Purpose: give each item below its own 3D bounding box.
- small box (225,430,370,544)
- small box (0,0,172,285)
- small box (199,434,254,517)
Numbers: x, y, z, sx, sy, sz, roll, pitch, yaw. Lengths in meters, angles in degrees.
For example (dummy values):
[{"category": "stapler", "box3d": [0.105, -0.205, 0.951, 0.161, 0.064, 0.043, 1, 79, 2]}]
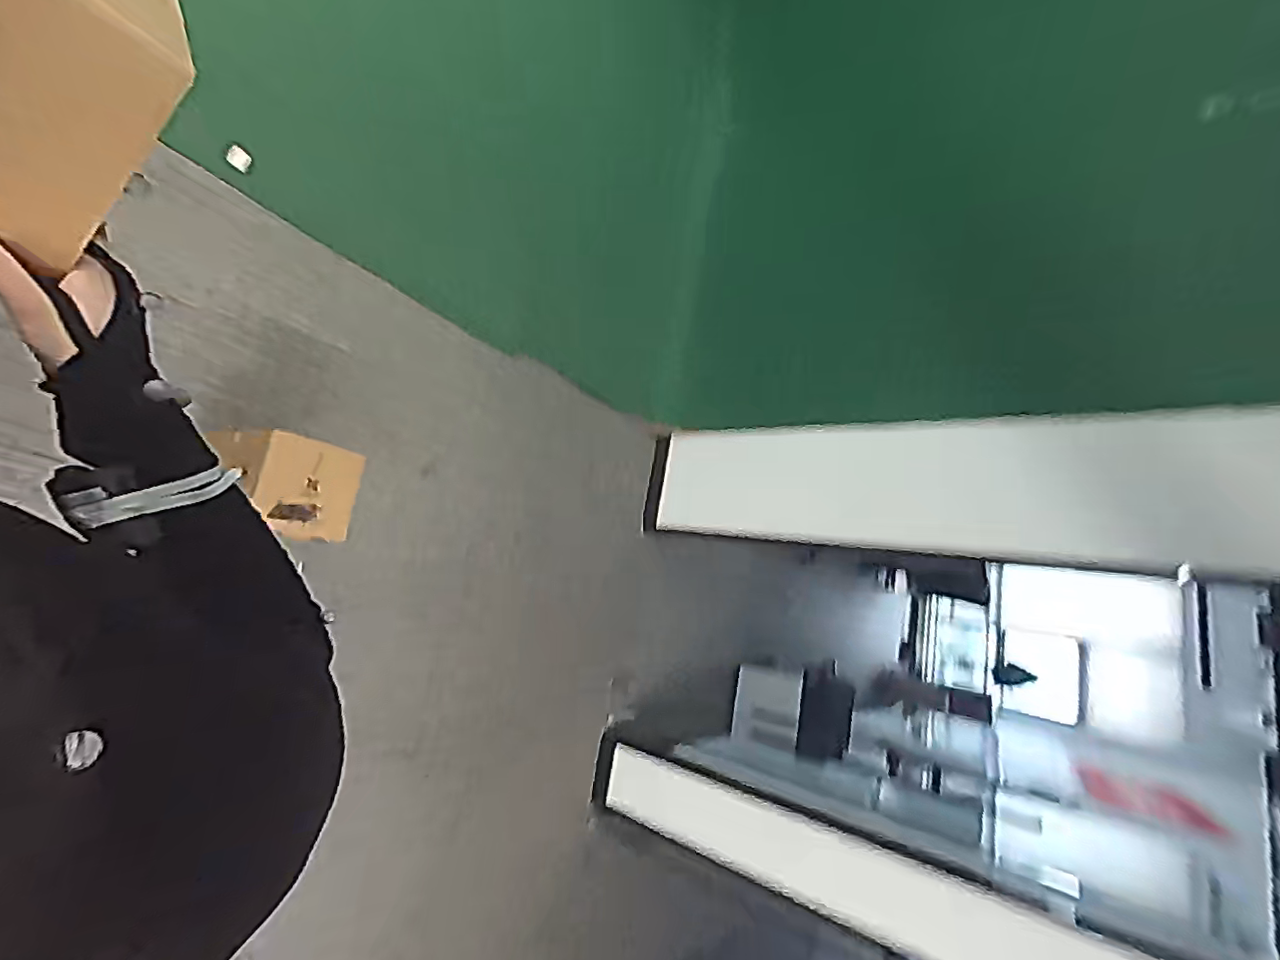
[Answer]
[{"category": "small box", "box3d": [-0.653, 0.016, 1.028, 0.168, 0.176, 0.179, 24, 72, -50]}, {"category": "small box", "box3d": [-0.402, -0.255, 0.294, 0.168, 0.179, 0.176, 23, 30, -57]}, {"category": "small box", "box3d": [-0.779, 0.006, 1.134, 0.179, 0.176, 0.168, 21, 75, -50]}]
